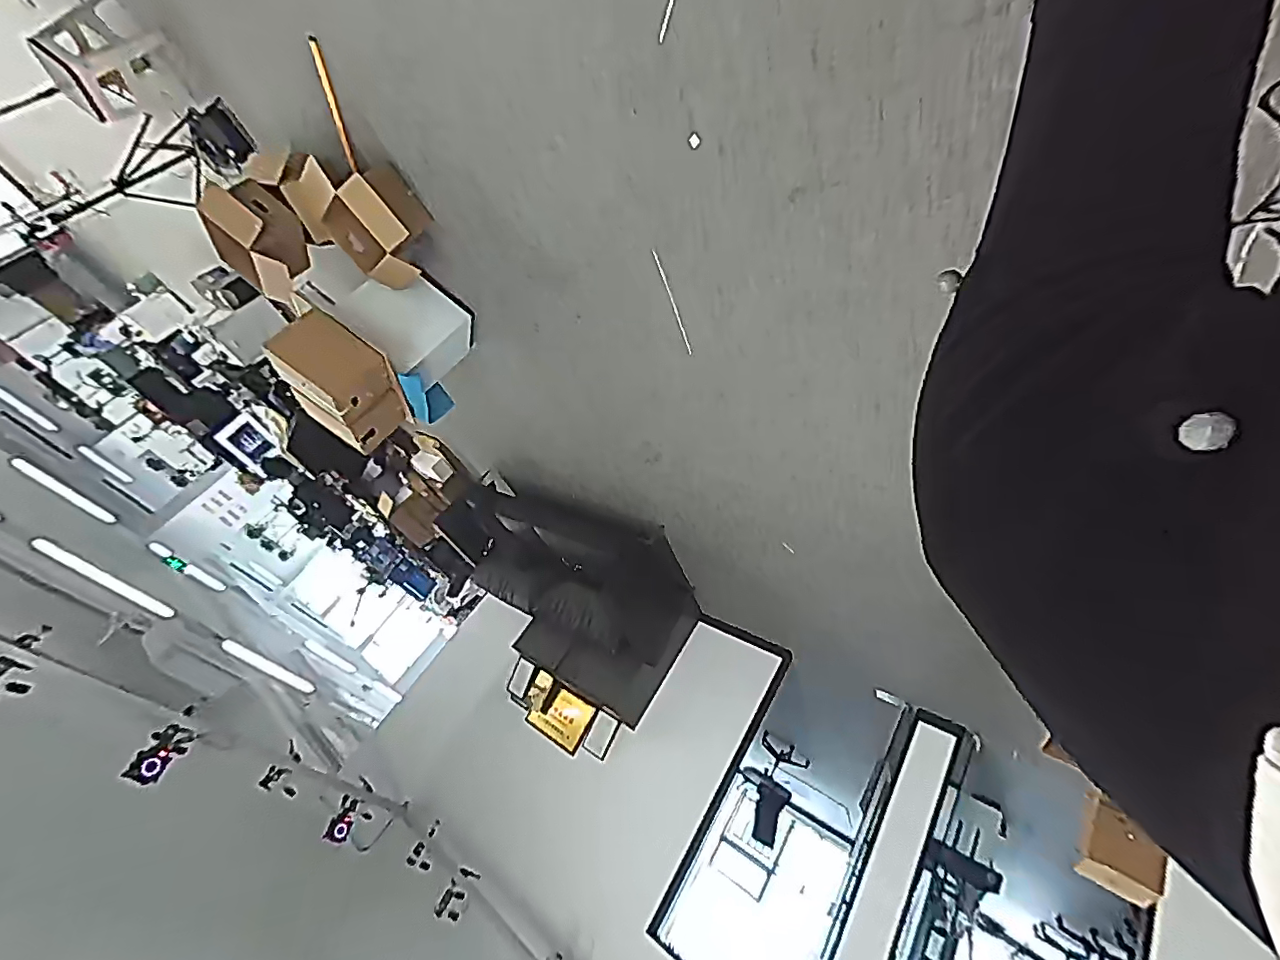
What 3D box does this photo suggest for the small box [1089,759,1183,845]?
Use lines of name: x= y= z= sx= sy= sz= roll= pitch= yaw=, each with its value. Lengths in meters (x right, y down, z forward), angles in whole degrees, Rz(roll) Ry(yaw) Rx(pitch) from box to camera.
small box: x=1.506 y=0.989 z=1.642 sx=0.168 sy=0.176 sz=0.179 roll=19 pitch=146 yaw=36

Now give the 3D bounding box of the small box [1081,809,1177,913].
small box: x=1.408 y=1.093 z=1.558 sx=0.168 sy=0.176 sz=0.179 roll=17 pitch=145 yaw=37
